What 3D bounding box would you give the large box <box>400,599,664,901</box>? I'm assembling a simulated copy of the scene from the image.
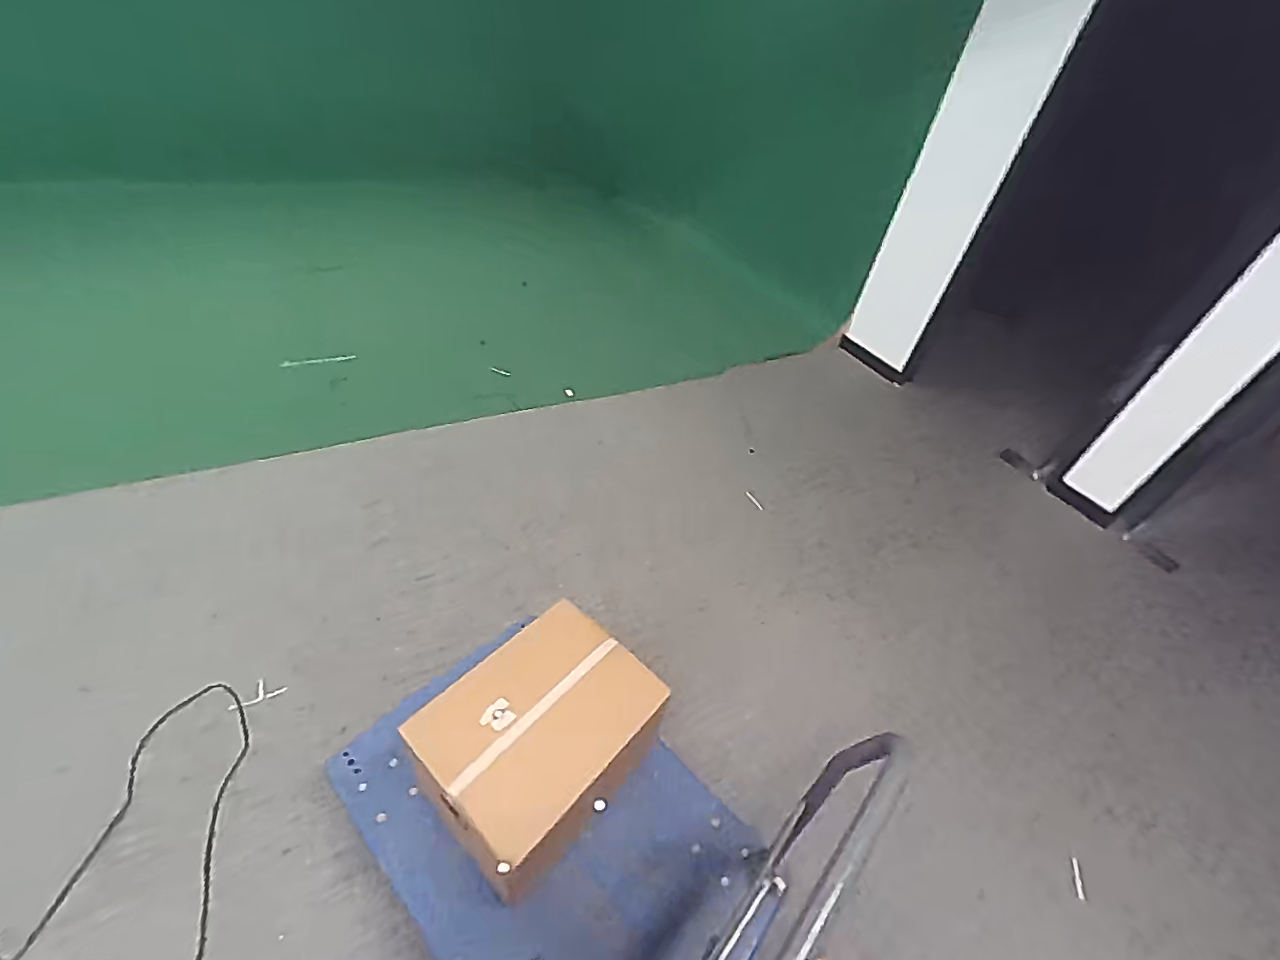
[{"bbox_3d":[-0.206,0.536,1.114,0.320,0.320,0.408,34,48,25],"label":"large box"}]
